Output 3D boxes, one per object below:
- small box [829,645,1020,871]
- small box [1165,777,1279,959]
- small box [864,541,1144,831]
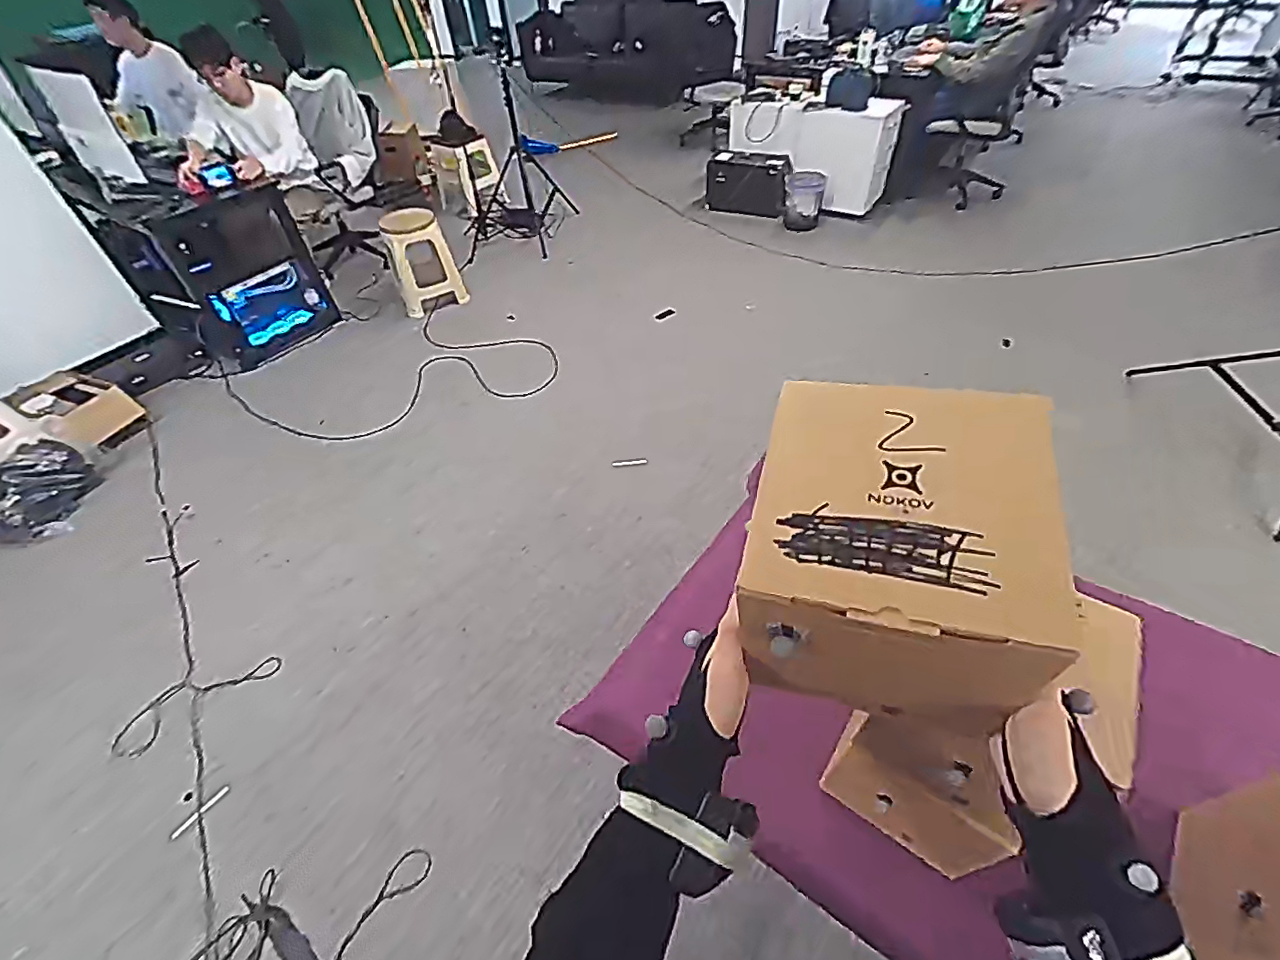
[{"bbox_3d":[0.342,0.317,0.641,0.168,0.176,0.179,28,53,26],"label":"small box"},{"bbox_3d":[0.654,0.429,0.512,0.168,0.176,0.179,30,54,27],"label":"small box"},{"bbox_3d":[0.337,0.200,0.527,0.168,0.176,0.179,25,53,25],"label":"small box"}]
